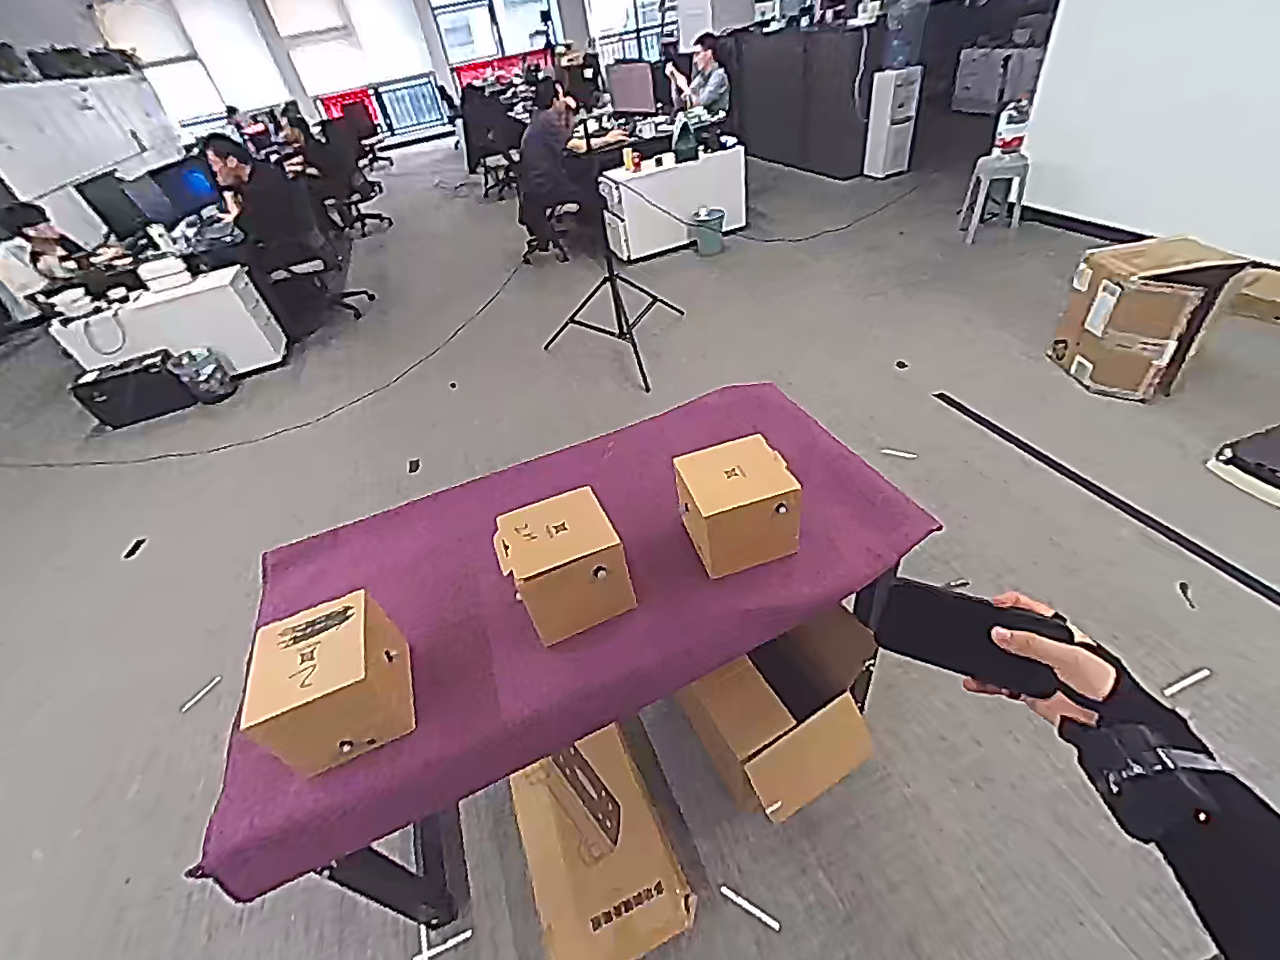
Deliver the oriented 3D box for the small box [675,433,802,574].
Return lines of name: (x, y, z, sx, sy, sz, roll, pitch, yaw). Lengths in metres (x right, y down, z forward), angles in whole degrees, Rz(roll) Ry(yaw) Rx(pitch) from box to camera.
small box: (0.178, 0.046, 0.987, 0.179, 0.176, 0.168, -17, 41, -6)

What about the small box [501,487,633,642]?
small box: (-0.121, 0.146, 0.940, 0.179, 0.176, 0.168, -22, 39, -12)
